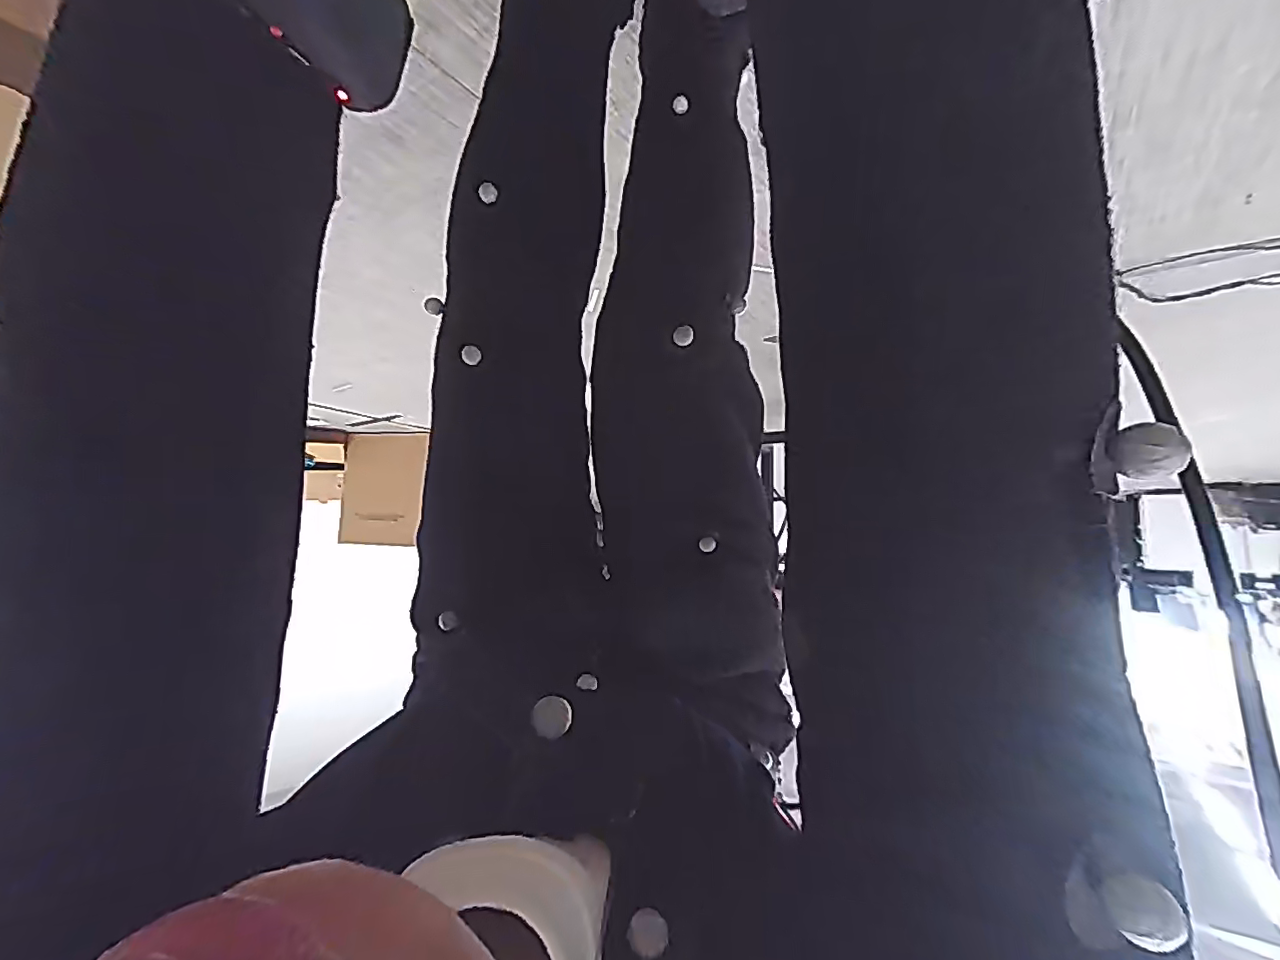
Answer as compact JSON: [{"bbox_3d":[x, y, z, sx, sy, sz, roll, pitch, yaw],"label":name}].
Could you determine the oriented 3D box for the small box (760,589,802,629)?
[{"bbox_3d":[0.652,0.601,2.537,0.179,0.176,0.168,-3,170,37],"label":"small box"}]

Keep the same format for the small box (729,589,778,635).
[{"bbox_3d":[0.495,0.572,2.363,0.179,0.176,0.168,-2,173,31],"label":"small box"}]
